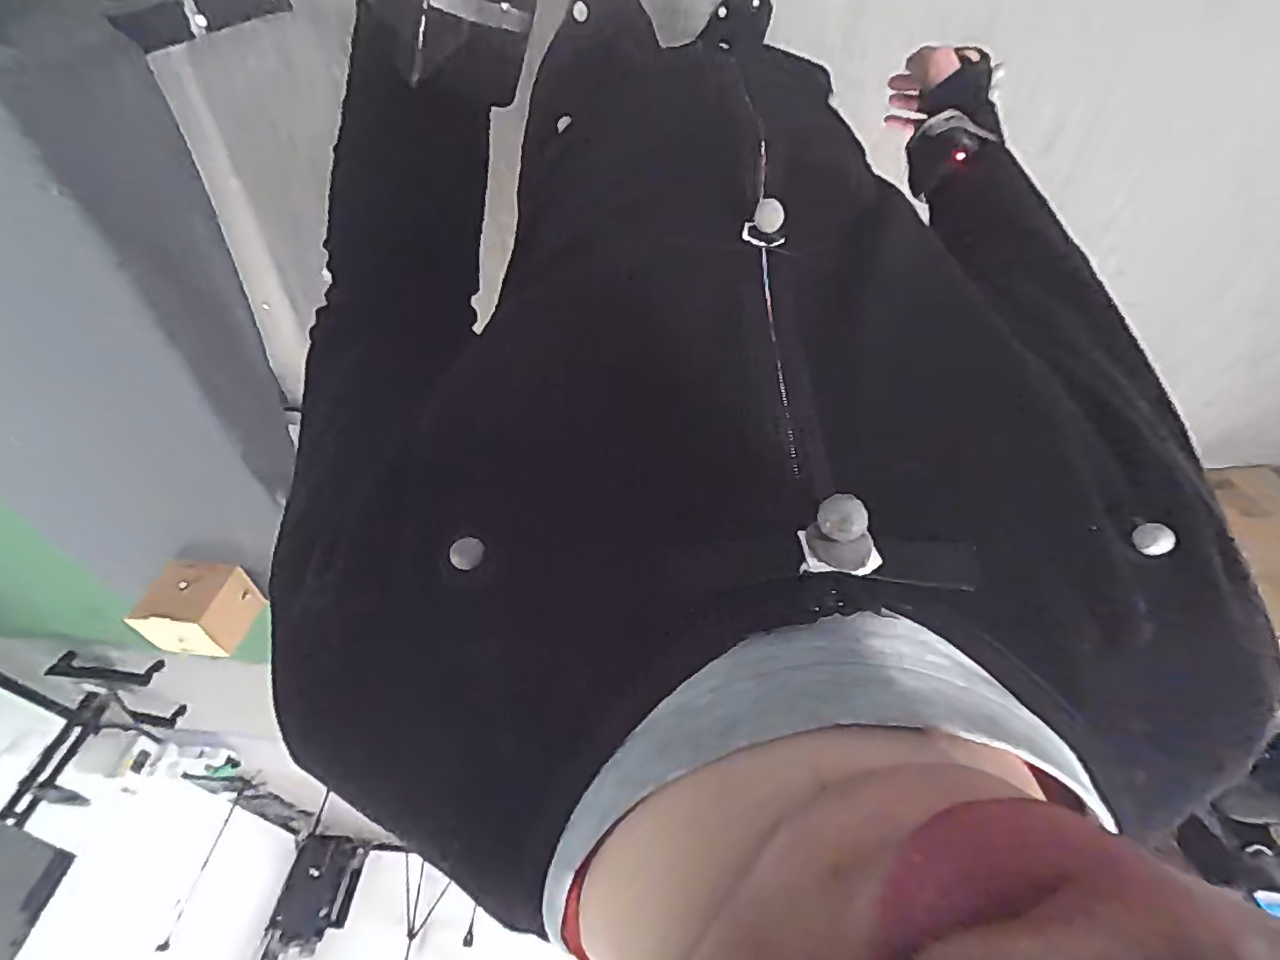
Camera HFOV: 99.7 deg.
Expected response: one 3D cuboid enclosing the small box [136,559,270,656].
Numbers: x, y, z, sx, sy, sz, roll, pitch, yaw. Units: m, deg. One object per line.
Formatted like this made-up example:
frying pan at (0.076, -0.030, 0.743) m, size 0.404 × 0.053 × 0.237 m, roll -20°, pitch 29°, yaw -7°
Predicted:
small box at (-1.074, 0.316, 1.349) m, size 0.168 × 0.176 × 0.179 m, roll 7°, pitch 136°, yaw -2°
